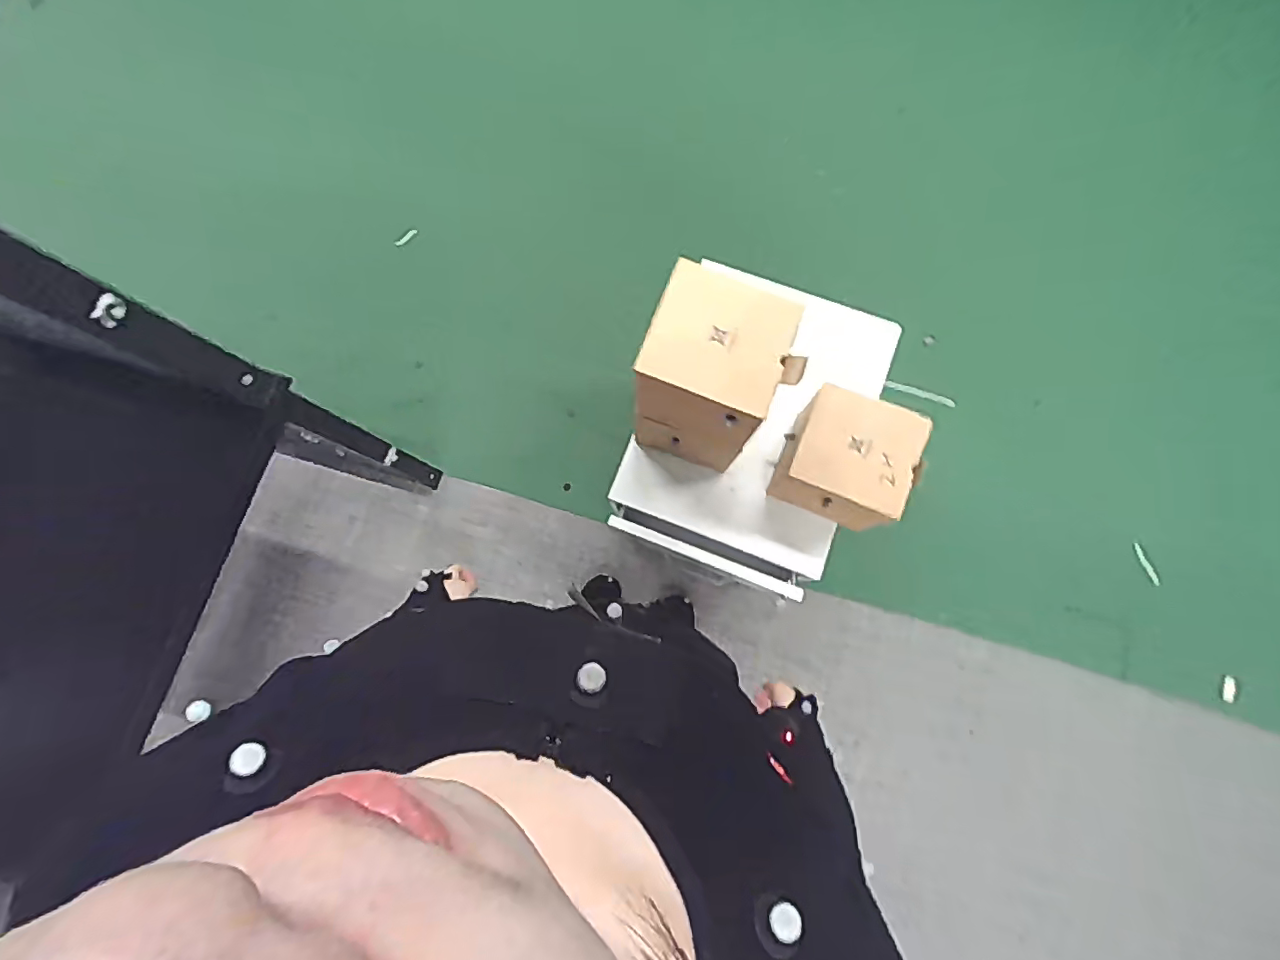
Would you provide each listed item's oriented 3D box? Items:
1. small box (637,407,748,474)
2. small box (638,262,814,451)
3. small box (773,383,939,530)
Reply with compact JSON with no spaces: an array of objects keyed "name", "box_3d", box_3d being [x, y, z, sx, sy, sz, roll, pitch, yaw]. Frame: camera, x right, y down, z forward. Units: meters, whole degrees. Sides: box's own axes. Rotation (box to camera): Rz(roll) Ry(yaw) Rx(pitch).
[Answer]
[{"name":"small box","box_3d":[0.104,-0.122,0.896,0.179,0.176,0.168,20,79,4]},{"name":"small box","box_3d":[0.105,-0.154,0.736,0.179,0.176,0.168,21,80,3]},{"name":"small box","box_3d":[0.334,-0.026,0.873,0.179,0.176,0.168,23,81,5]}]
